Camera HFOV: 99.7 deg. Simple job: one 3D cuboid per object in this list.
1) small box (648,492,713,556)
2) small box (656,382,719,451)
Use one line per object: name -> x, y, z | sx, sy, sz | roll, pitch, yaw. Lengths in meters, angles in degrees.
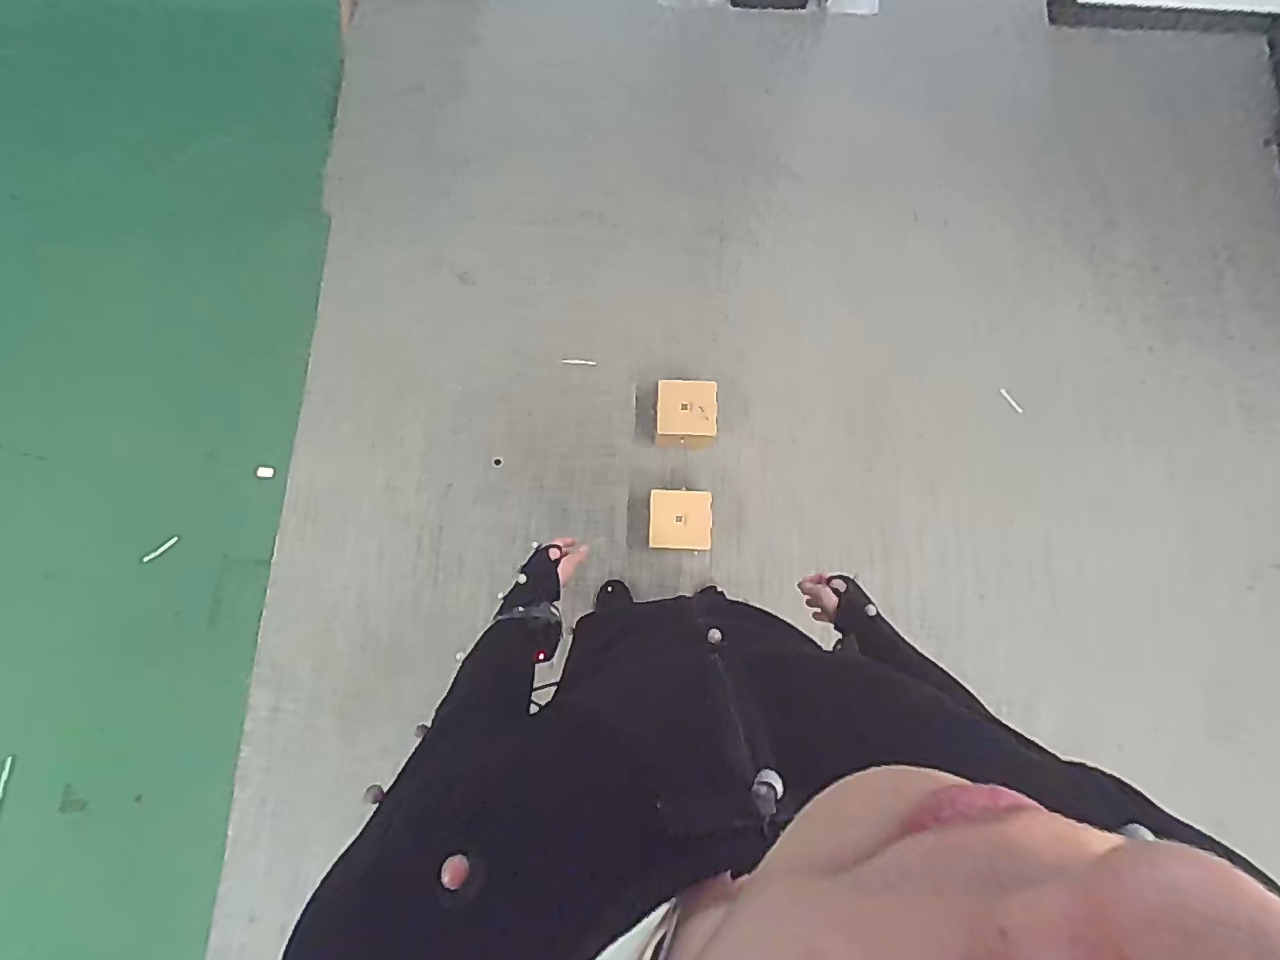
small box -> 0.115, 0.133, 1.582 | 0.179, 0.176, 0.168 | 3, 79, -1
small box -> 0.140, -0.186, 1.637 | 0.179, 0.176, 0.168 | 3, 80, -1
